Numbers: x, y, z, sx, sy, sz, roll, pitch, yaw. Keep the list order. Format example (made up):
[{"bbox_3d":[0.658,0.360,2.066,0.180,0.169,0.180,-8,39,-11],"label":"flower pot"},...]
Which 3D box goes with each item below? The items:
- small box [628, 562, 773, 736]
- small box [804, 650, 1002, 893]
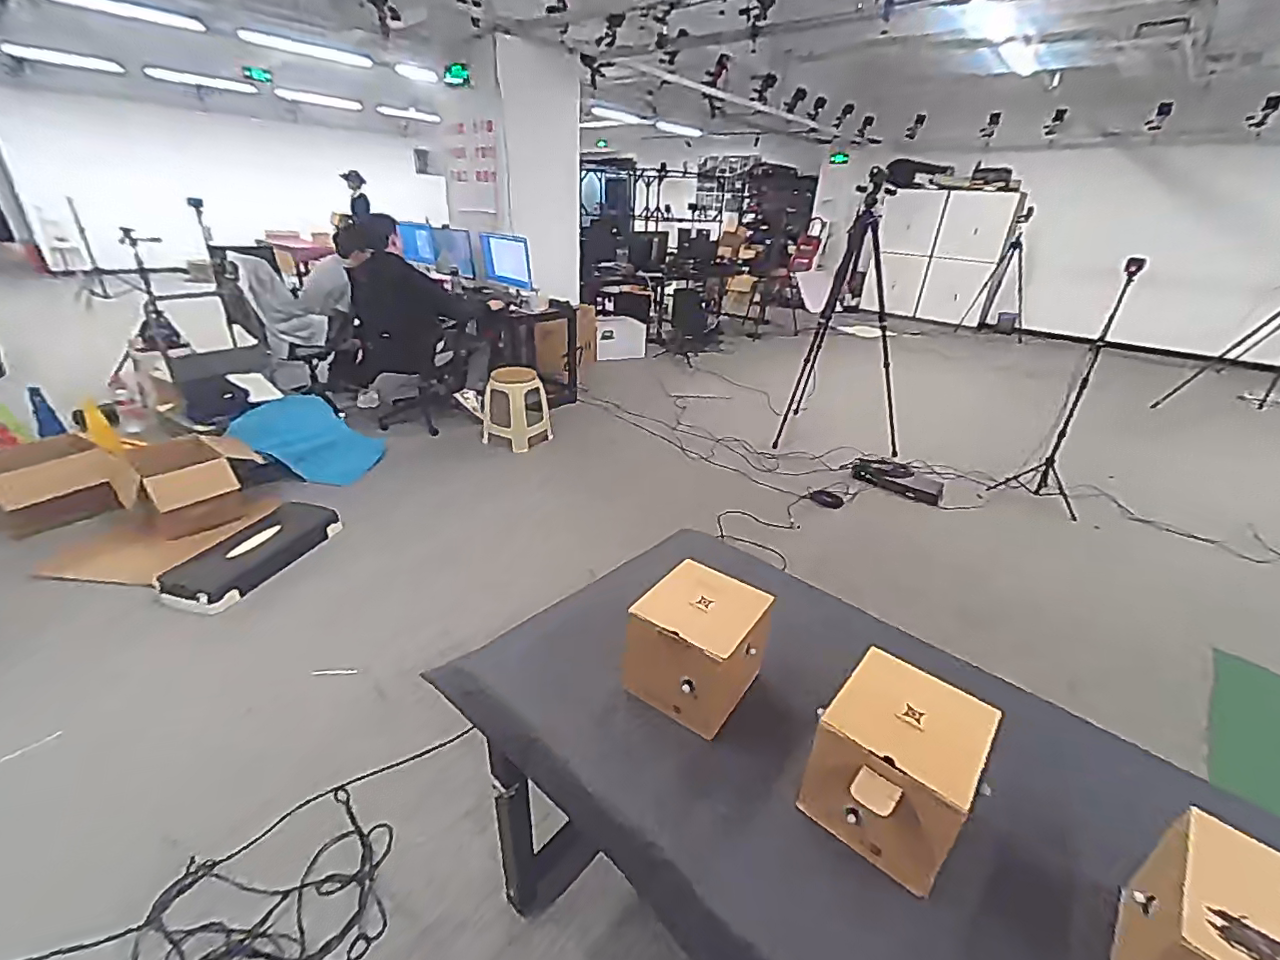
[{"bbox_3d":[0.093,0.266,0.867,0.168,0.176,0.179,21,30,29],"label":"small box"},{"bbox_3d":[0.331,0.364,0.697,0.168,0.176,0.179,24,34,35],"label":"small box"}]
